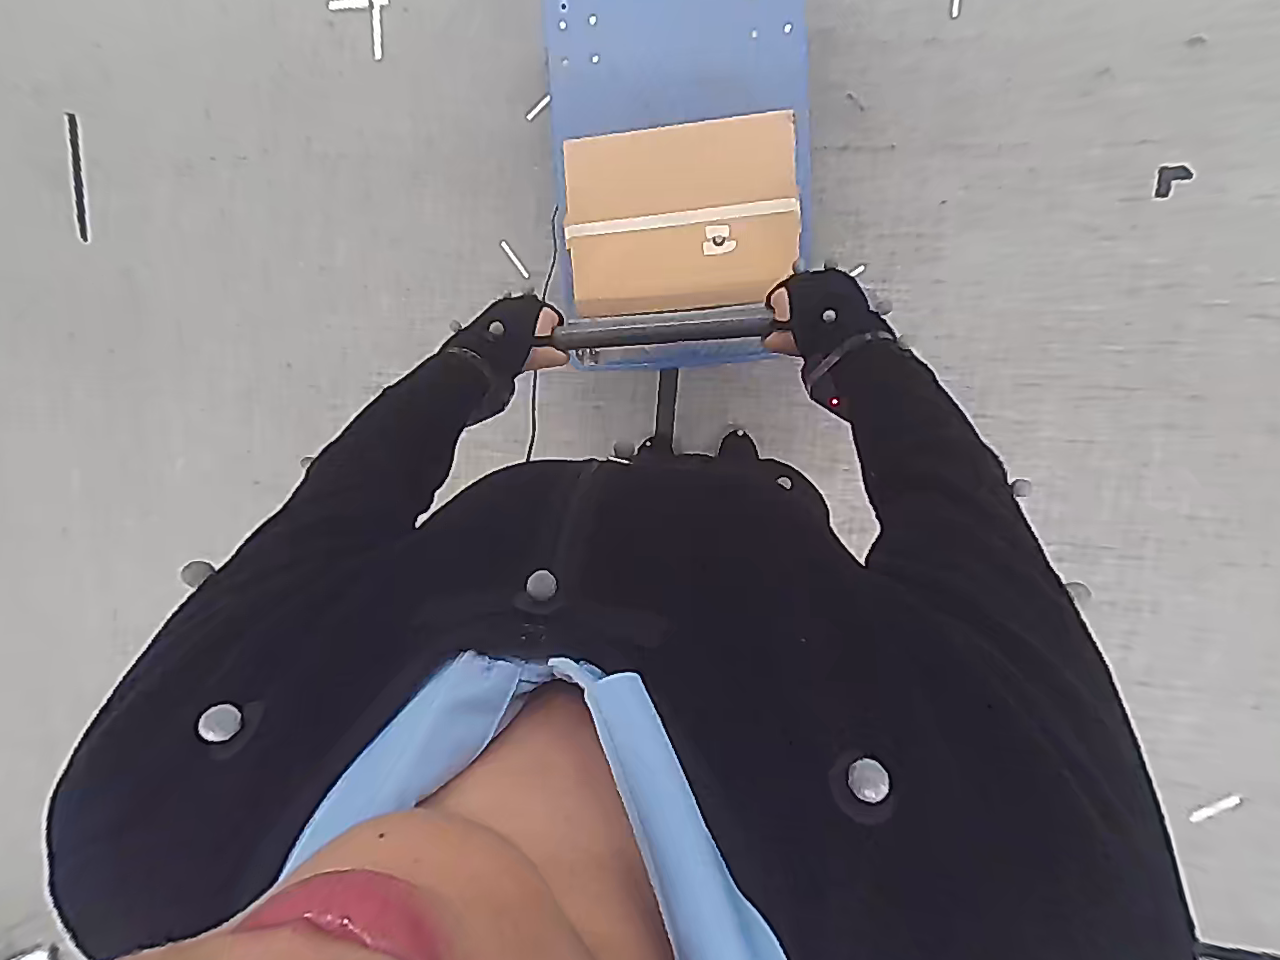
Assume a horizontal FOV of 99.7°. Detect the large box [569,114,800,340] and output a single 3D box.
[{"bbox_3d":[0.095,-0.482,1.116,0.408,0.320,0.320,-3,97,8],"label":"large box"}]
